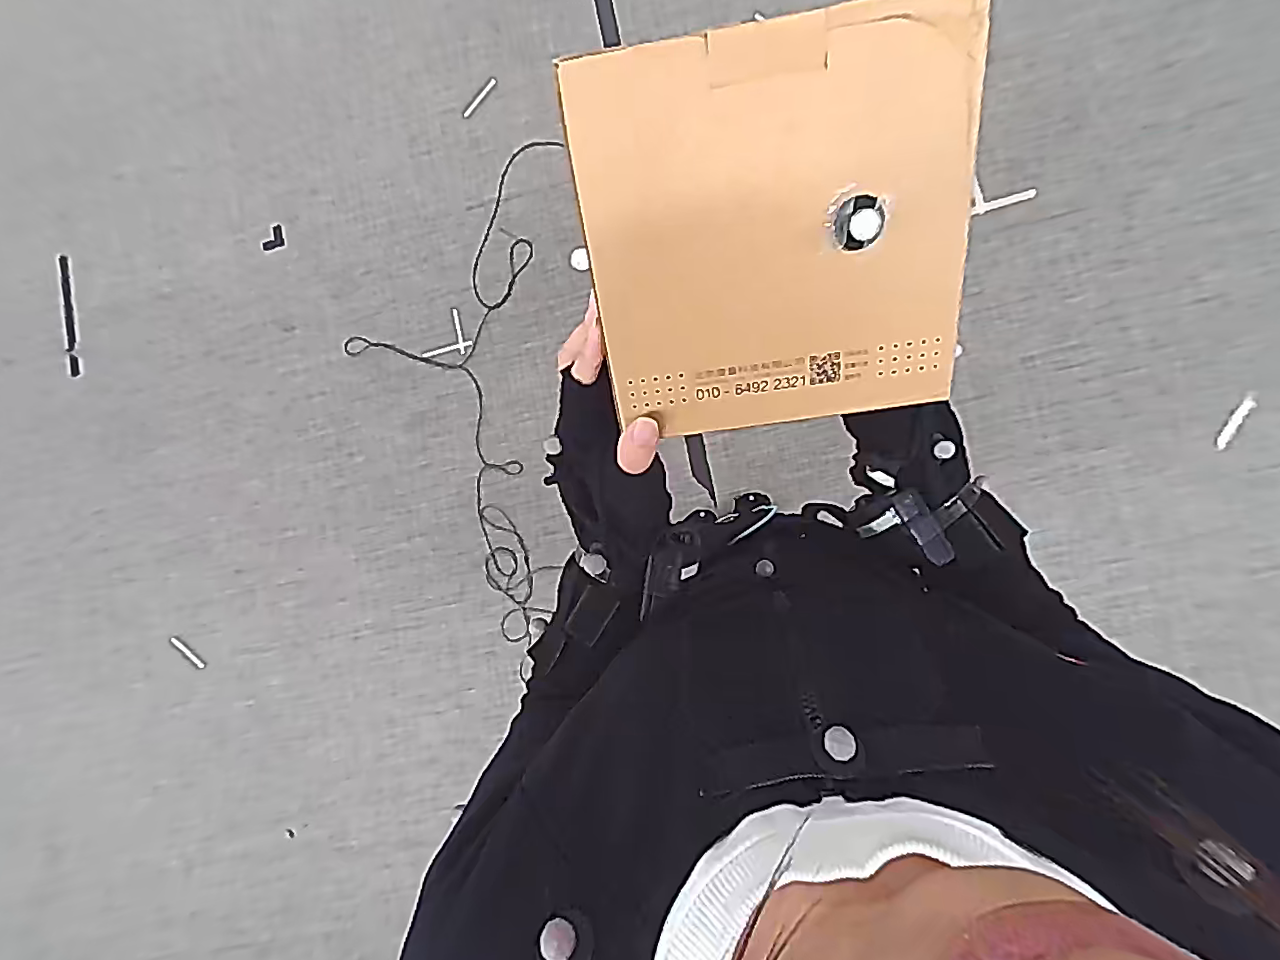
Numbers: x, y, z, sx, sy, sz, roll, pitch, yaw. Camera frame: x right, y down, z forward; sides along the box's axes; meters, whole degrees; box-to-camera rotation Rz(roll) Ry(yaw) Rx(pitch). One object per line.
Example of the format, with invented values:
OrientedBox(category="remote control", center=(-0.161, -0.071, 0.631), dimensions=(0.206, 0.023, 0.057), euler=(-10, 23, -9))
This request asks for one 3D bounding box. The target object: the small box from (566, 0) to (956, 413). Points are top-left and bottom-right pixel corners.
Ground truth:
OrientedBox(category="small box", center=(0.065, -0.146, 0.332), dimensions=(0.168, 0.179, 0.176), euler=(-6, 117, 7))
